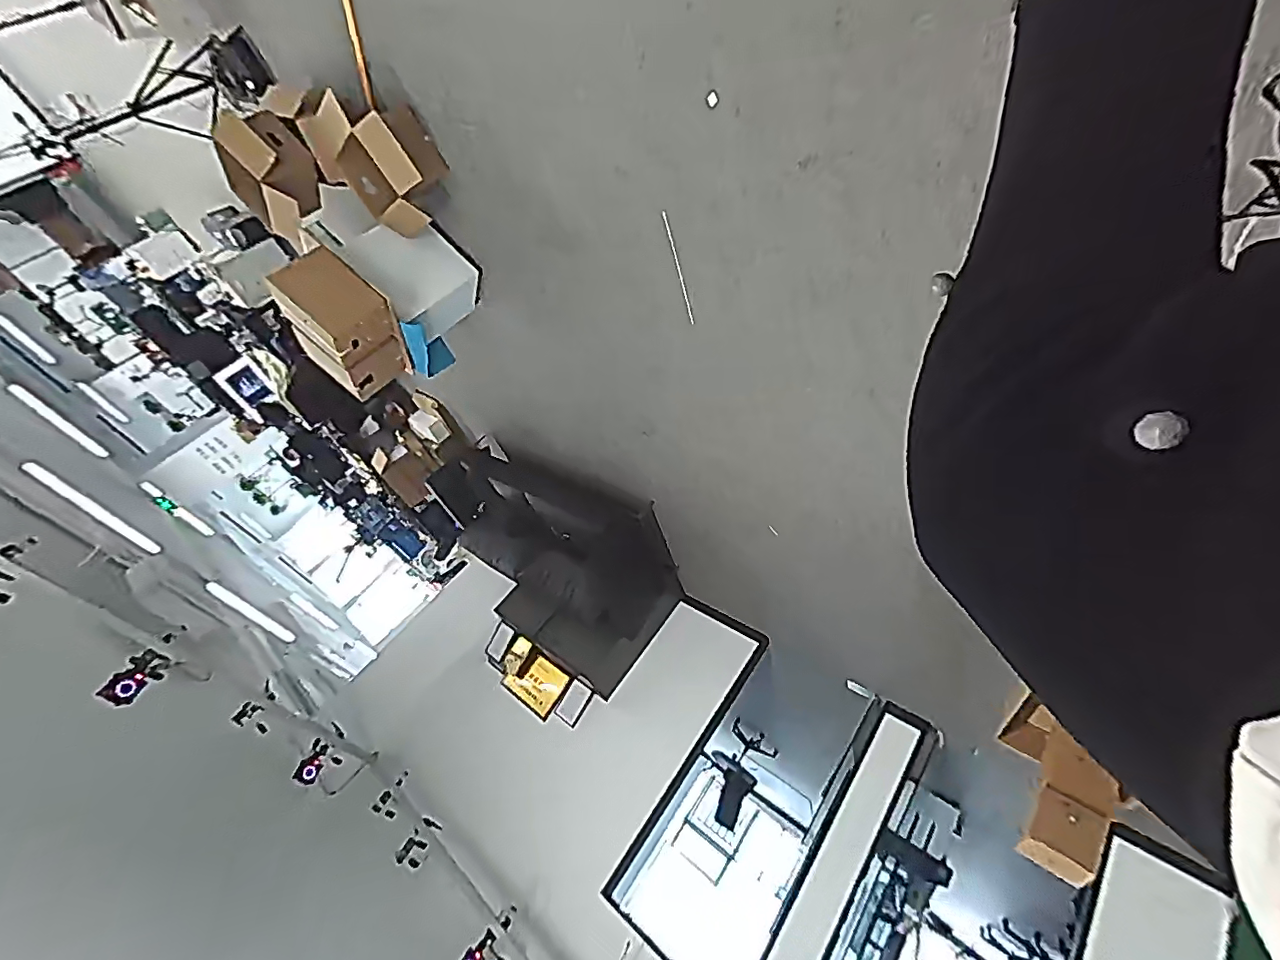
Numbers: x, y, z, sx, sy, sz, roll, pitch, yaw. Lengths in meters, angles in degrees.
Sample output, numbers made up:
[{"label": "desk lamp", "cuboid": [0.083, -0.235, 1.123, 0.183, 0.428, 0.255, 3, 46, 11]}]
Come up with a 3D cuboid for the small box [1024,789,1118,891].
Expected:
[{"label": "small box", "cuboid": [1.281, 1.066, 1.607, 0.168, 0.176, 0.179, 23, 146, 36]}]

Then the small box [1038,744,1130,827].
[{"label": "small box", "cuboid": [1.387, 0.969, 1.689, 0.168, 0.176, 0.179, 24, 147, 35]}]
